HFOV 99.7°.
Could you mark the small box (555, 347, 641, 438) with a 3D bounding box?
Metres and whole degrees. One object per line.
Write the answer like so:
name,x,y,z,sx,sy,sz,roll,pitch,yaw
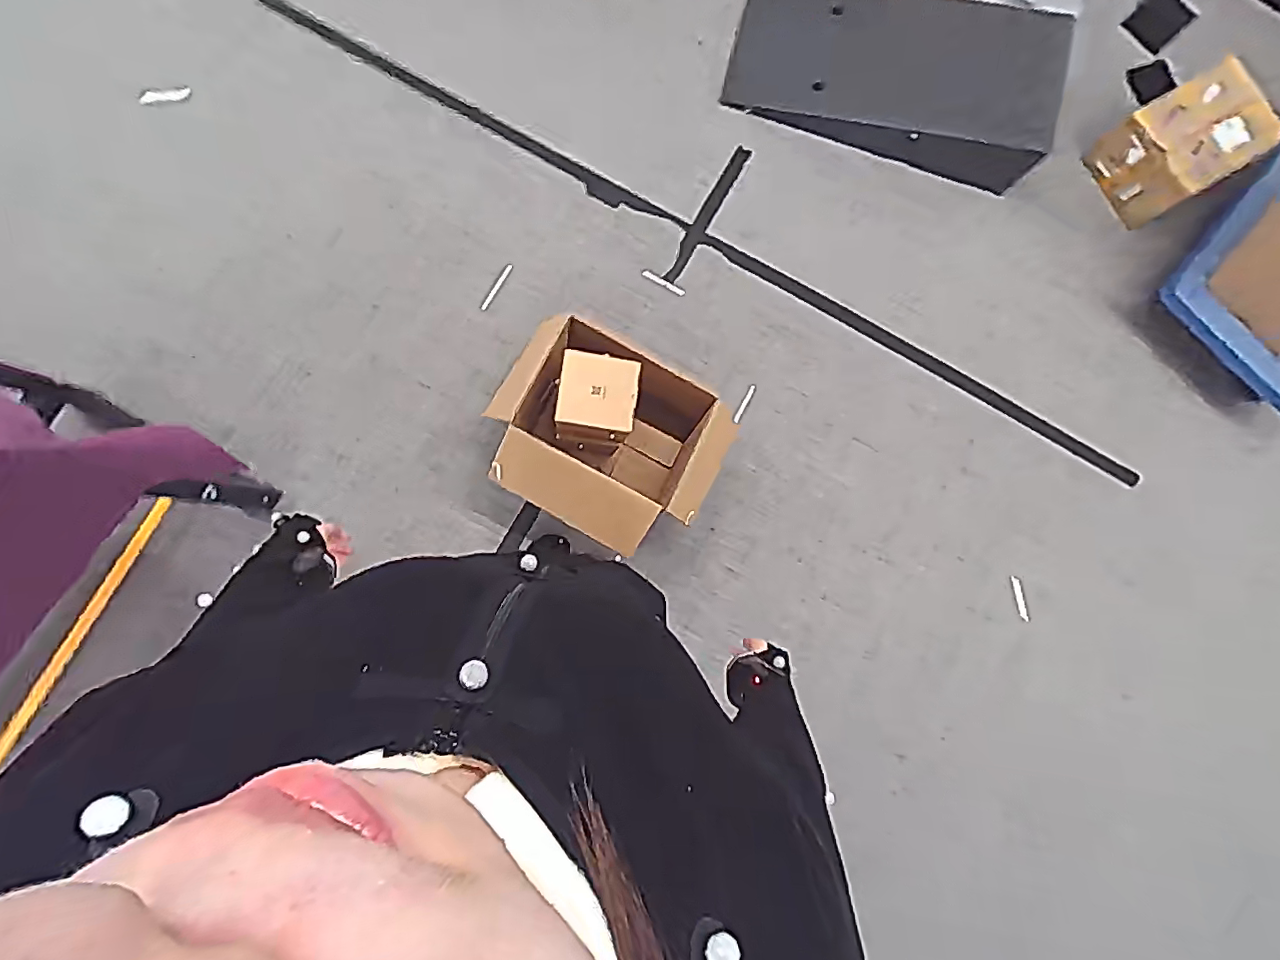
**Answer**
small box,-0.104,-0.202,1.293,0.179,0.176,0.168,8,85,-9
